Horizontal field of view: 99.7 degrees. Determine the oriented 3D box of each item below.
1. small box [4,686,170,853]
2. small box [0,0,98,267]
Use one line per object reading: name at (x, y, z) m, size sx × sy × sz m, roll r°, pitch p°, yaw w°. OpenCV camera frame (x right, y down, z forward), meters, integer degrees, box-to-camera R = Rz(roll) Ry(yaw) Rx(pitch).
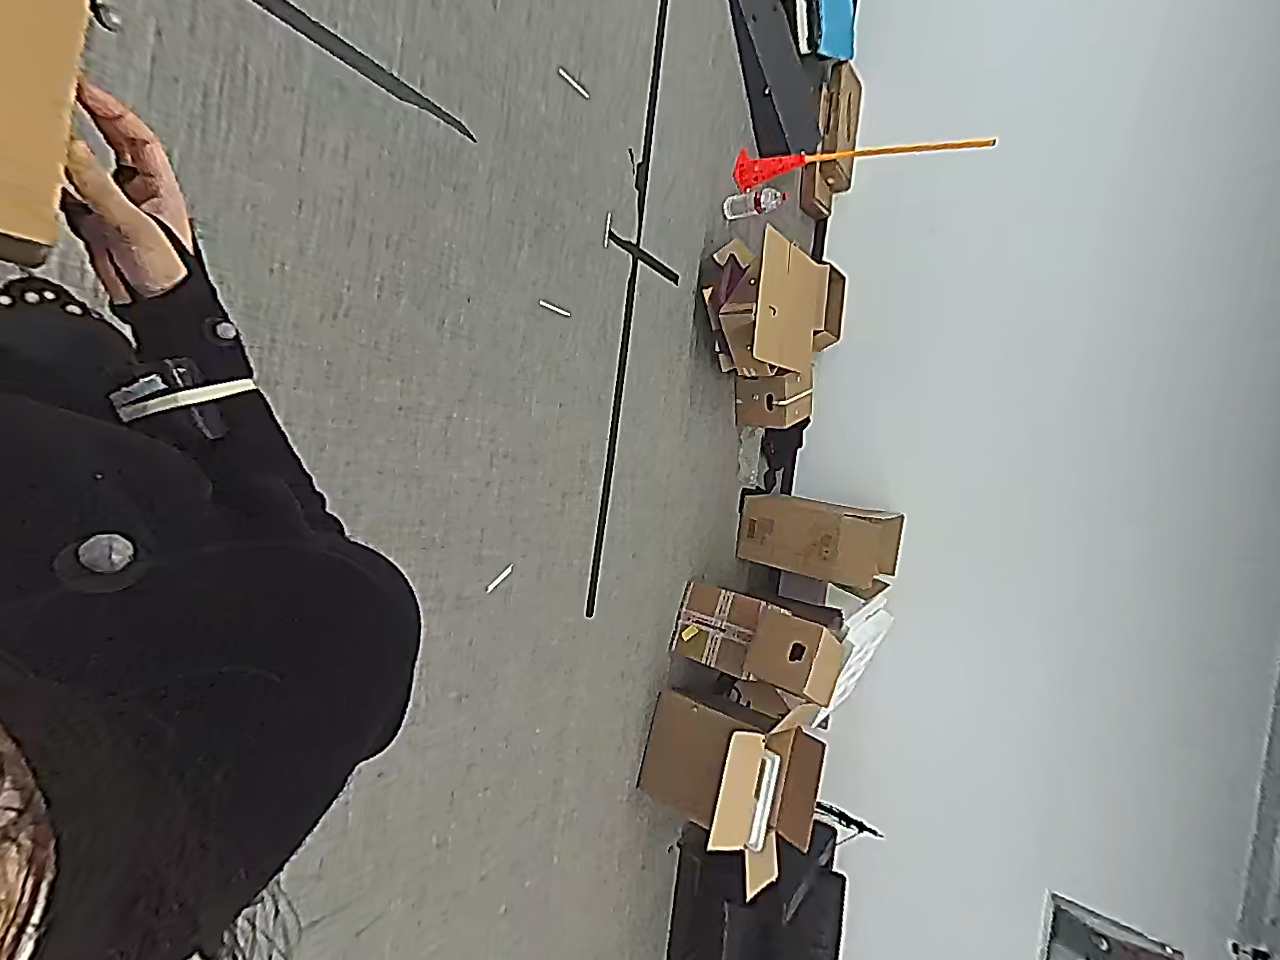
small box at (-0.977, 0.494, 0.958) m, size 0.179 × 0.176 × 0.168 m, roll -12°, pitch 105°, yaw -51°
small box at (-0.394, -0.221, 0.264) m, size 0.168 × 0.176 × 0.179 m, roll 7°, pitch 93°, yaw -51°
